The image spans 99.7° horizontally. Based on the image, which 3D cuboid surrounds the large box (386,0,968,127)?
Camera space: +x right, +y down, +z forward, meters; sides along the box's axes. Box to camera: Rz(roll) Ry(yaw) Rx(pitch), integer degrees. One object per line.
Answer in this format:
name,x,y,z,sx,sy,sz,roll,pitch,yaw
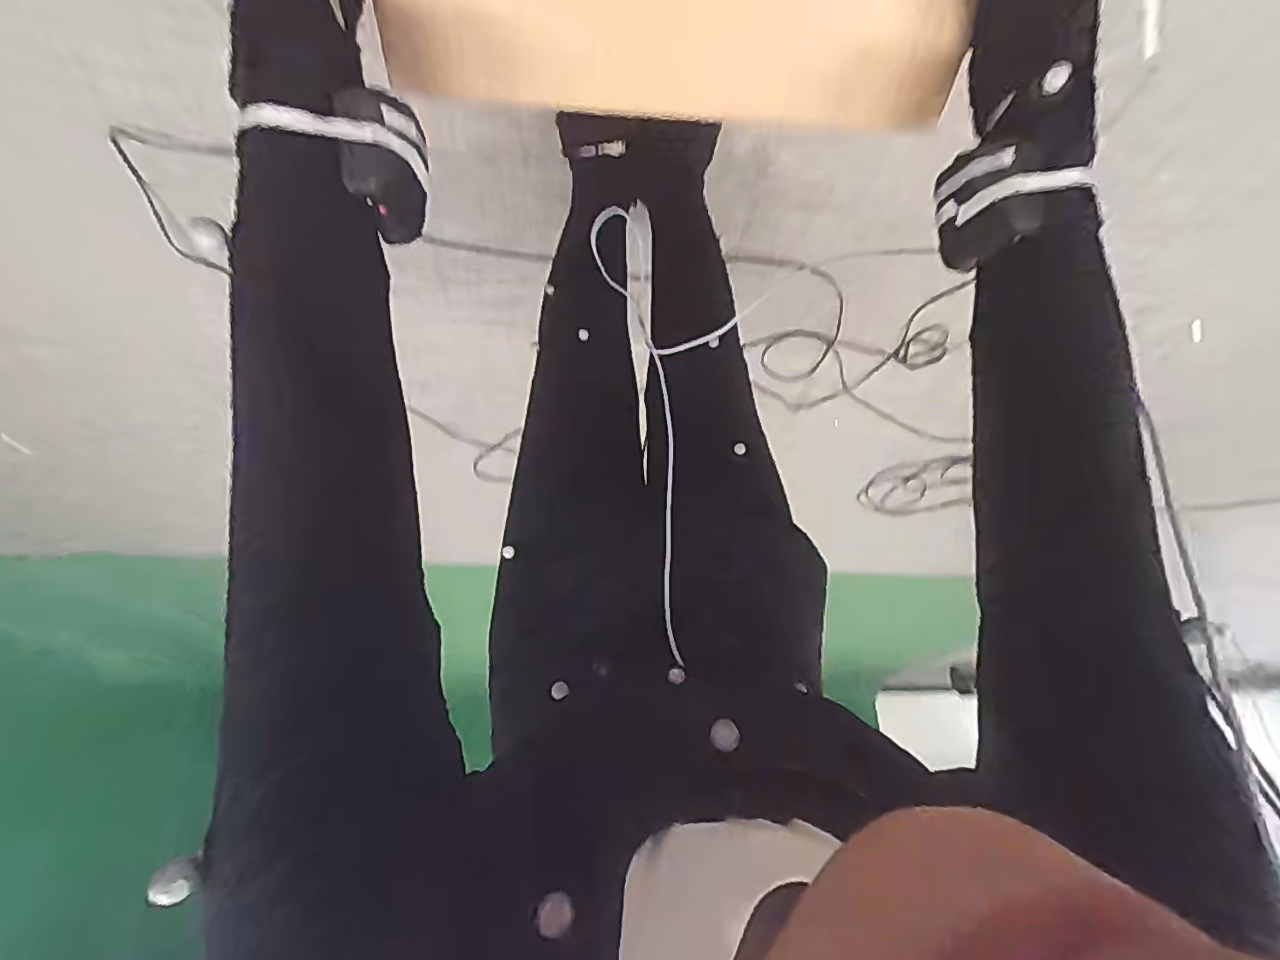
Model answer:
large box,0.022,-0.487,0.416,0.408,0.320,0.320,-1,132,-7
